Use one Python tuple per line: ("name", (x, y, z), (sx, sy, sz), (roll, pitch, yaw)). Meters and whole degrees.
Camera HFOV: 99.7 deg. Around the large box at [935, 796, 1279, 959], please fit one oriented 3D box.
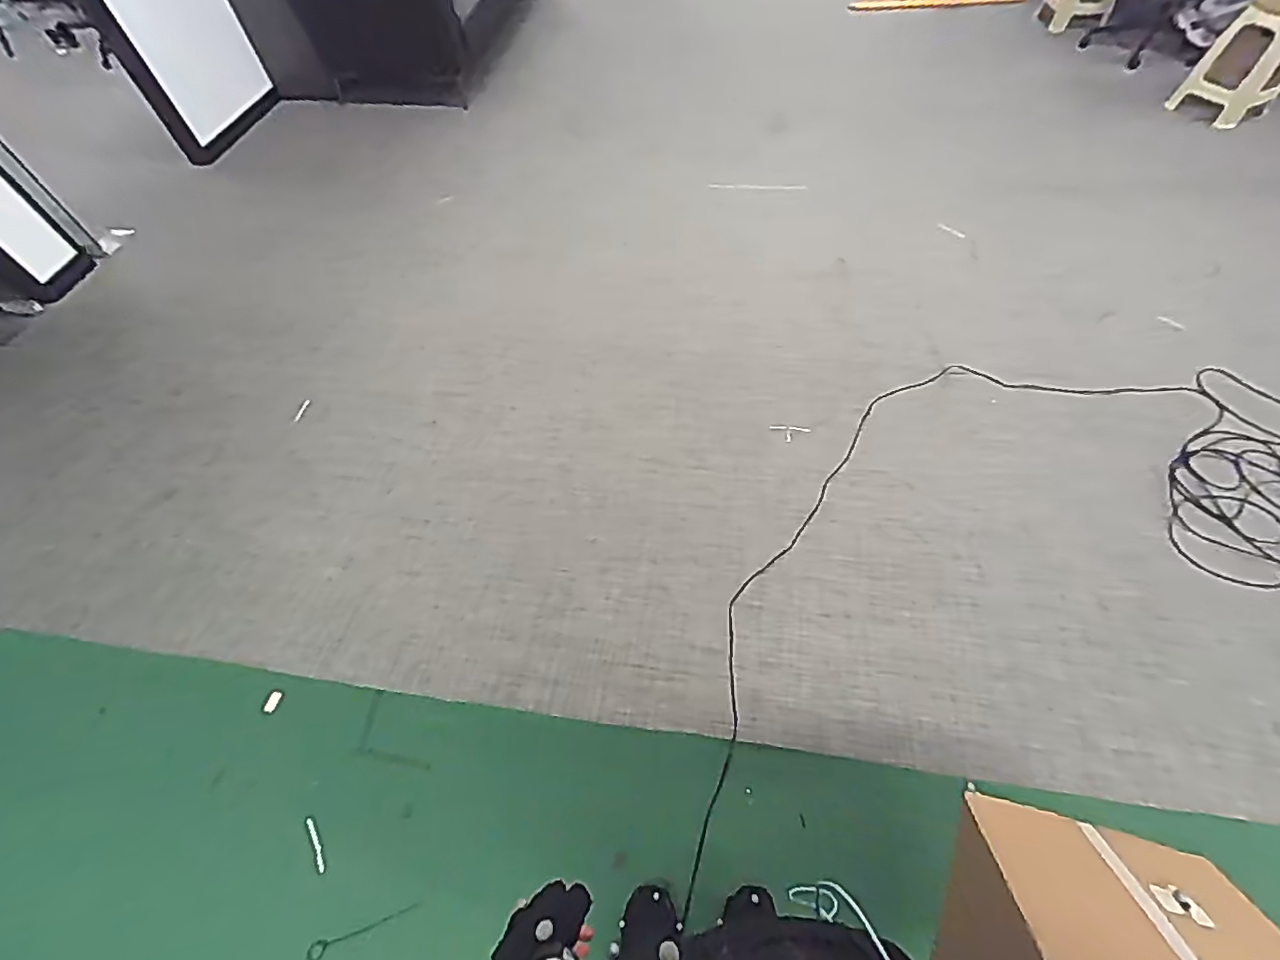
("large box", (0.570, 0.664, 0.616), (0.320, 0.408, 0.320), (10, 94, 16))
